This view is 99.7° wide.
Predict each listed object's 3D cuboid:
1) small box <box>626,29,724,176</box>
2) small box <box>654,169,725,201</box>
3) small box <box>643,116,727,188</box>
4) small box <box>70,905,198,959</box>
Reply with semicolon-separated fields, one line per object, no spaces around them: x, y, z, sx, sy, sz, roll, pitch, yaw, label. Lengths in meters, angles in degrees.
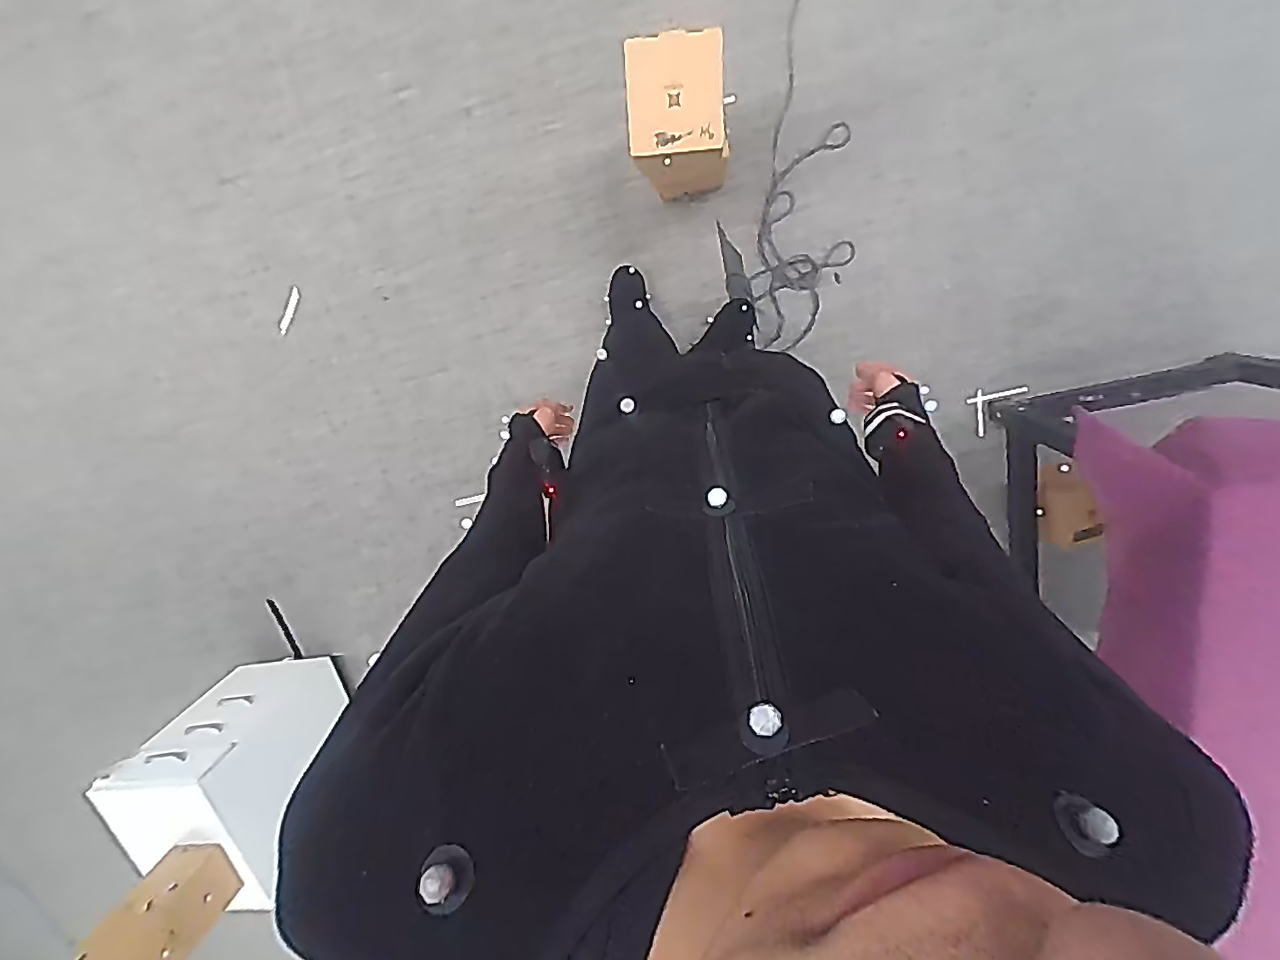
0.068;-0.679;0.994;0.168;0.176;0.179;-1;108;8;small box
0.107;-0.792;1.297;0.168;0.176;0.179;-9;109;11;small box
0.088;-0.736;1.146;0.179;0.176;0.168;-8;108;10;small box
-1.307;1.234;1.389;0.179;0.176;0.168;-7;110;10;small box
